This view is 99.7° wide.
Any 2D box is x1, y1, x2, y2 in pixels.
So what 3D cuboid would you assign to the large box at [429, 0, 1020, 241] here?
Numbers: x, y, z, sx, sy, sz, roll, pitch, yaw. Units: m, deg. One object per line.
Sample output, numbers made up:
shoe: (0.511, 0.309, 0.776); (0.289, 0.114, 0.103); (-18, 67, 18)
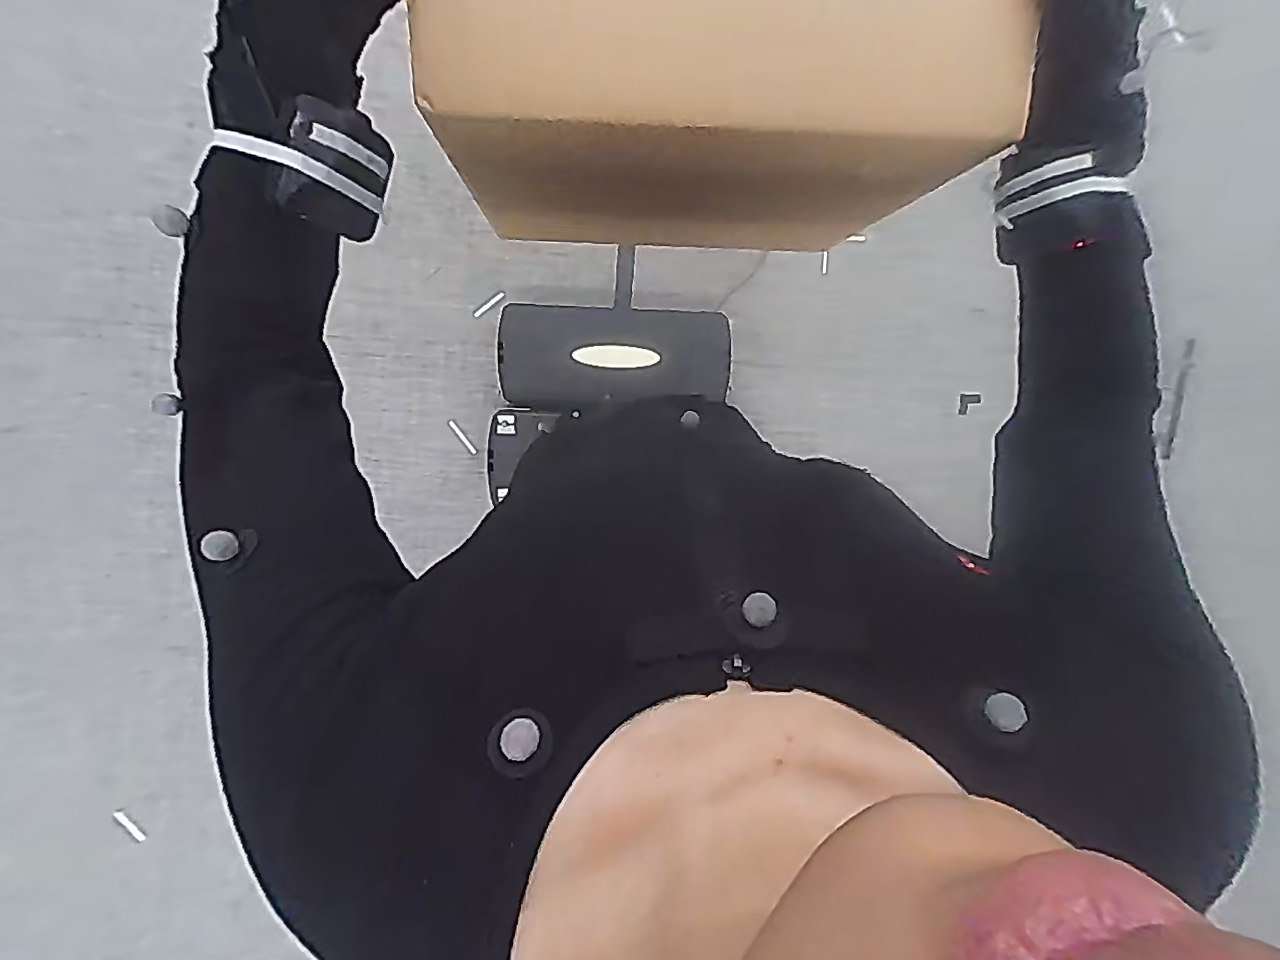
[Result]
large box: (0.046, -0.416, 0.486); (0.408, 0.320, 0.320); (-1, 101, -6)
